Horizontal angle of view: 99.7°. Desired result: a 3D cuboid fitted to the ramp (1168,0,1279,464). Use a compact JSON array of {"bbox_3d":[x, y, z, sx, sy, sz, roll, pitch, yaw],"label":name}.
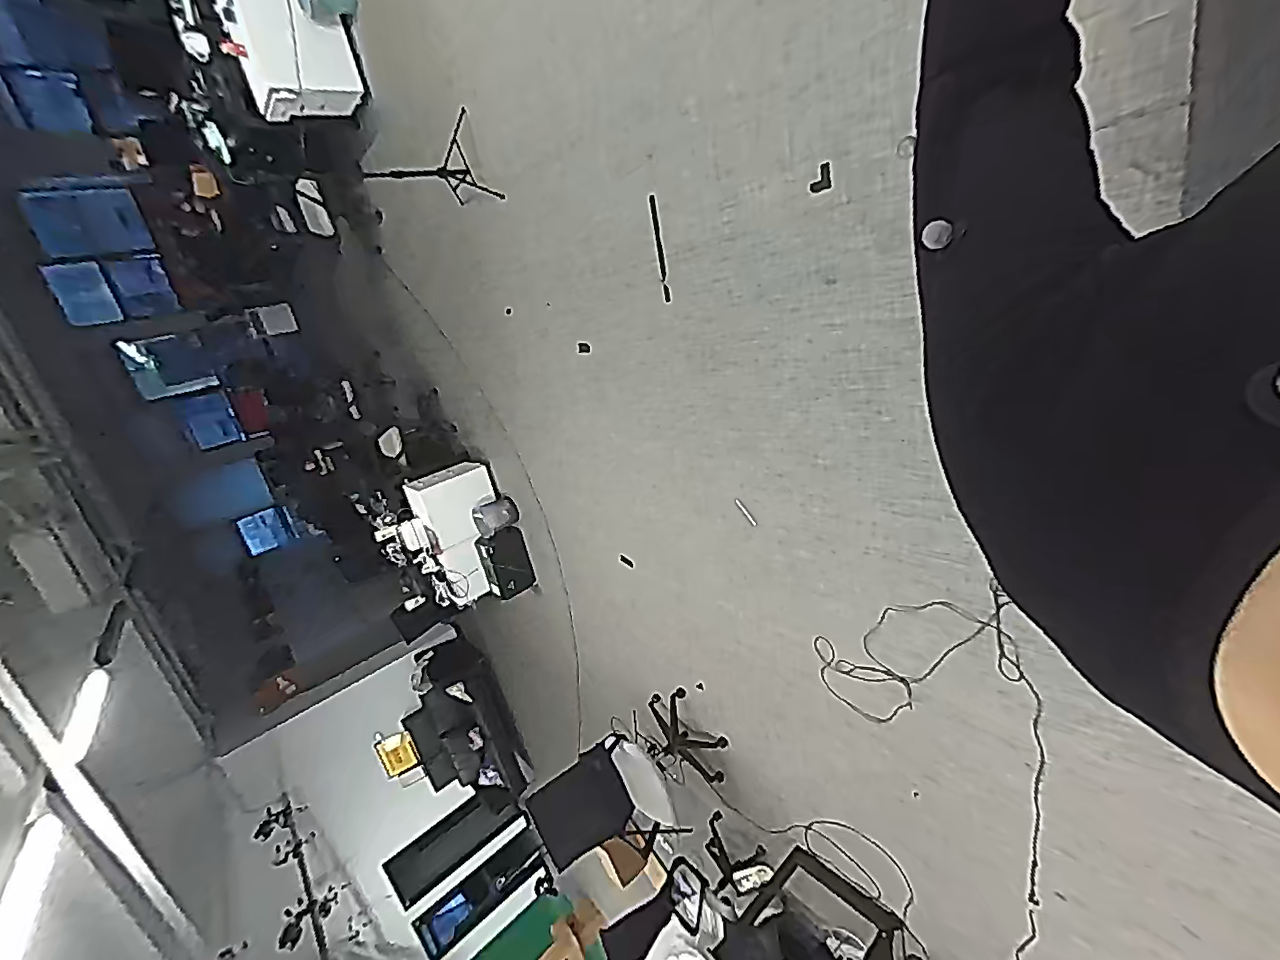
[{"bbox_3d":[1.189,-0.446,0.841,0.509,0.206,0.991,8,118,50],"label":"ramp"}]
